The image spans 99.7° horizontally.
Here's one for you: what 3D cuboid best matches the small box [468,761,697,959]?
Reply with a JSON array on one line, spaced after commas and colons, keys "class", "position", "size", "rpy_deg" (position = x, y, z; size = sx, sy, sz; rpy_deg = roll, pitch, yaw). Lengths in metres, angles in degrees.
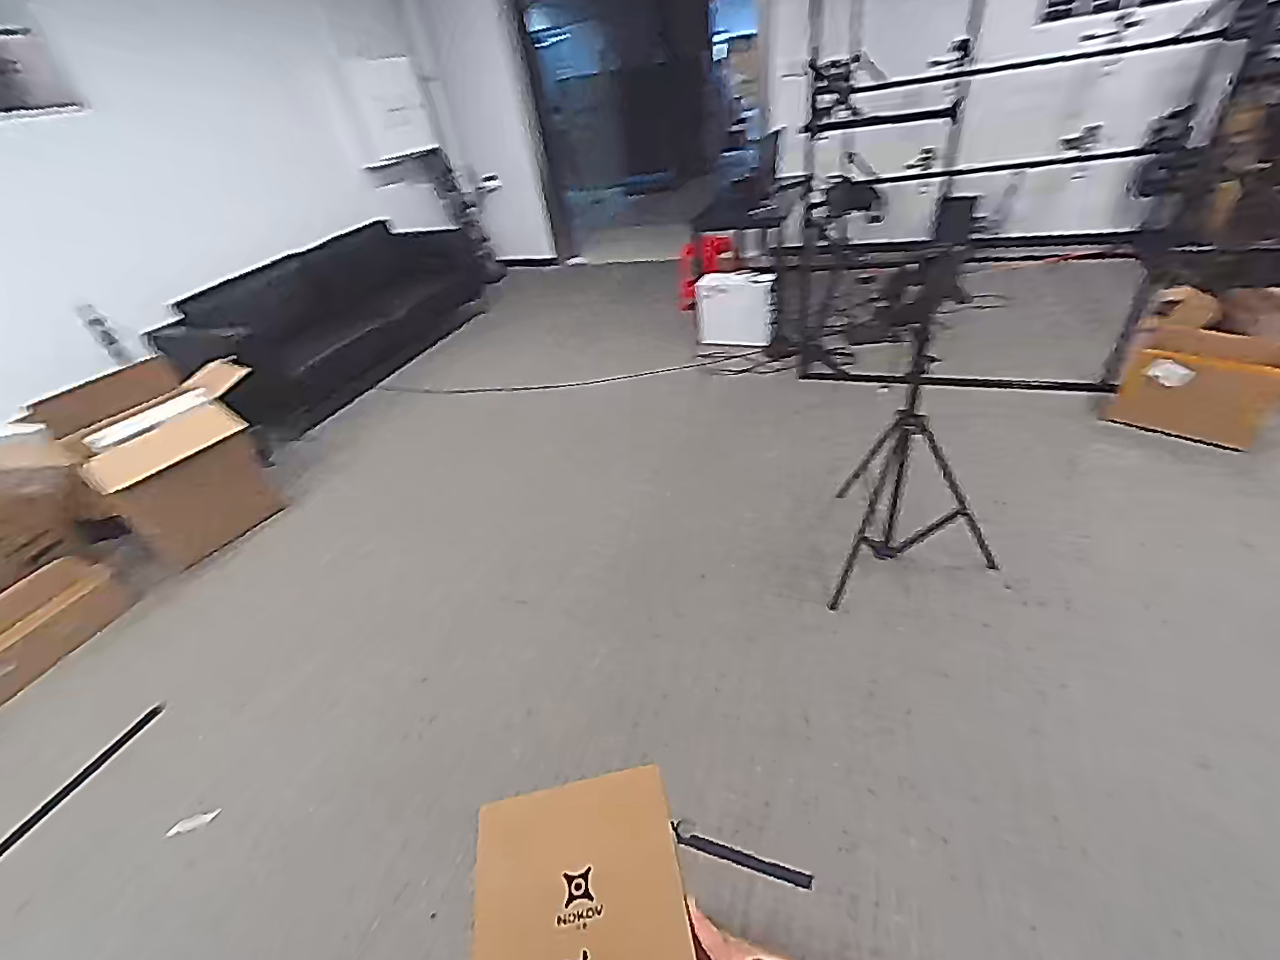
[{"class": "small box", "position": [-0.042, 0.386, 0.474], "size": [0.168, 0.176, 0.179], "rpy_deg": [-13, 40, -3]}]
